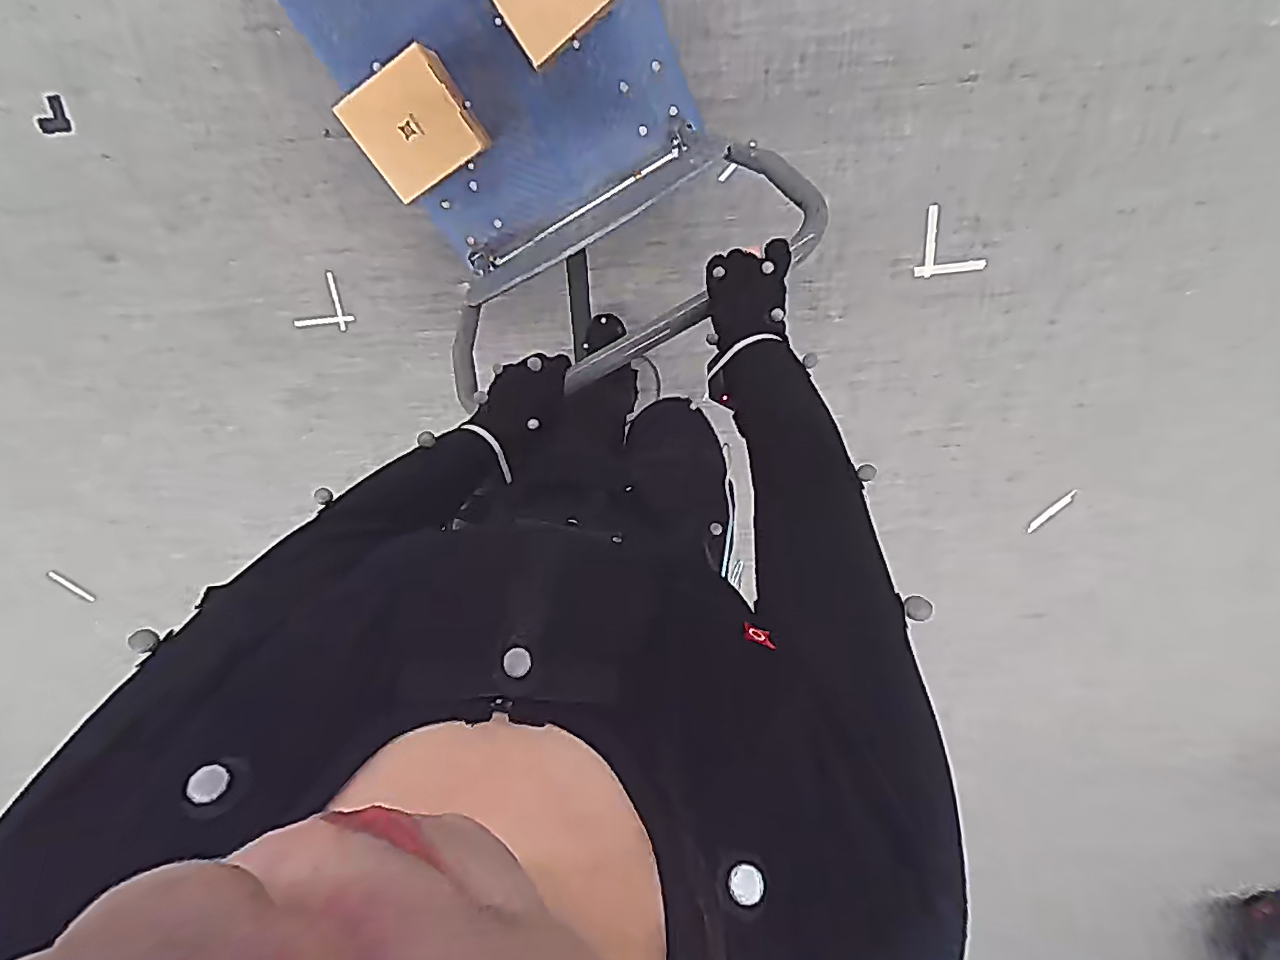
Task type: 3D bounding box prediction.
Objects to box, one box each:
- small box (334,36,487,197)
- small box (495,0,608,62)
[{"bbox_3d":[-0.392,-0.637,0.962,0.179,0.176,0.168,-30,123,10],"label":"small box"},{"bbox_3d":[-0.154,-0.818,0.874,0.179,0.176,0.168,-33,123,14],"label":"small box"}]
